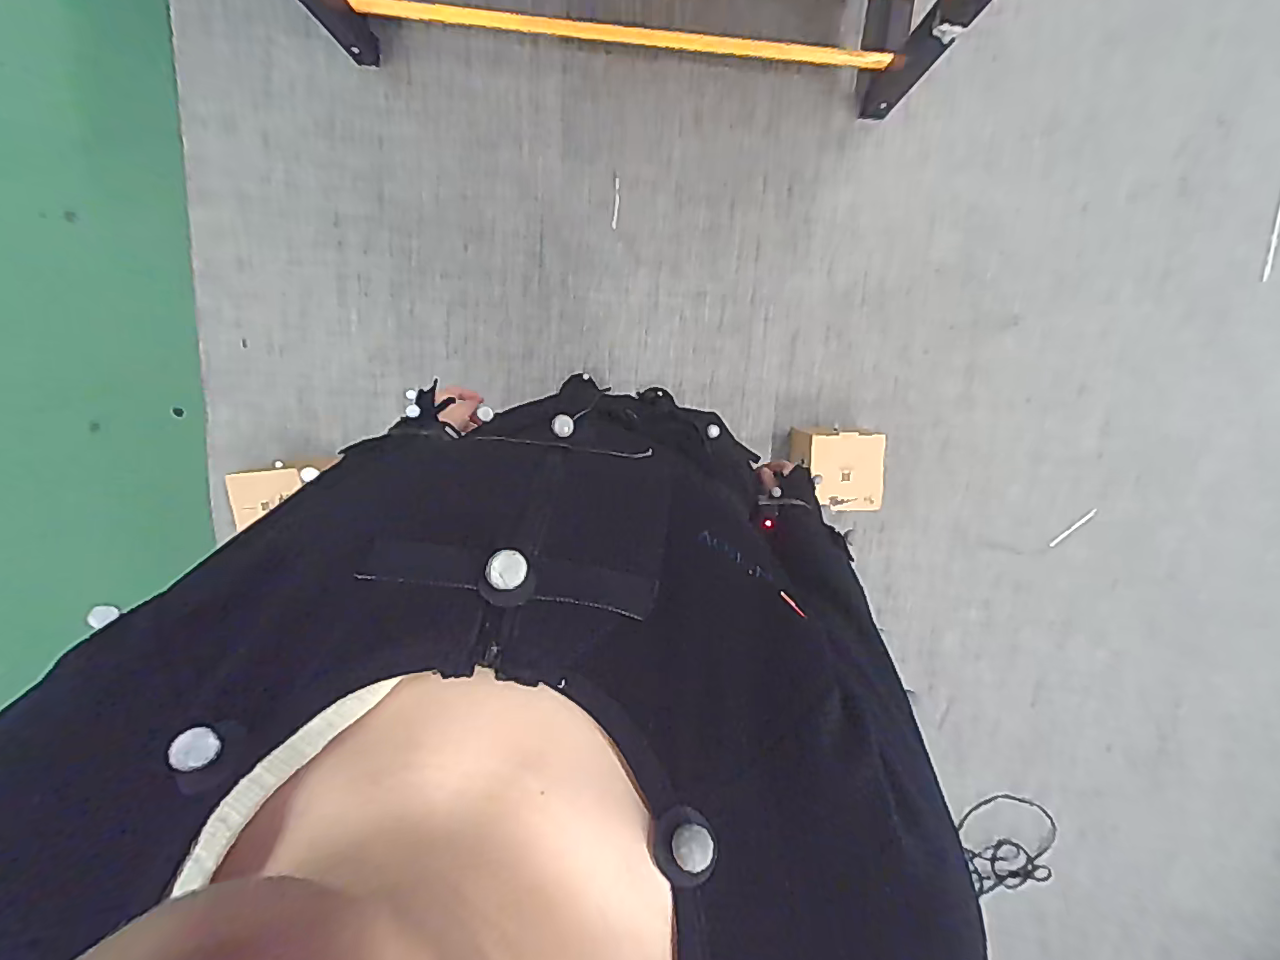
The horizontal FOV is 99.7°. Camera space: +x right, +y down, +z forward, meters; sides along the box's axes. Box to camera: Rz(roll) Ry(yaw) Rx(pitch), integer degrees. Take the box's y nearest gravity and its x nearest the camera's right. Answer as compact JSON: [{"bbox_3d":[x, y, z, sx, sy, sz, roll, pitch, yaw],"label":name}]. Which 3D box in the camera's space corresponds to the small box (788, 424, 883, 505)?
[{"bbox_3d":[0.454,-0.042,1.279,0.168,0.176,0.179,-1,100,0],"label":"small box"}]

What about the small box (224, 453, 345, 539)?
[{"bbox_3d":[-0.837,0.033,1.298,0.179,0.176,0.168,-5,101,2],"label":"small box"}]
